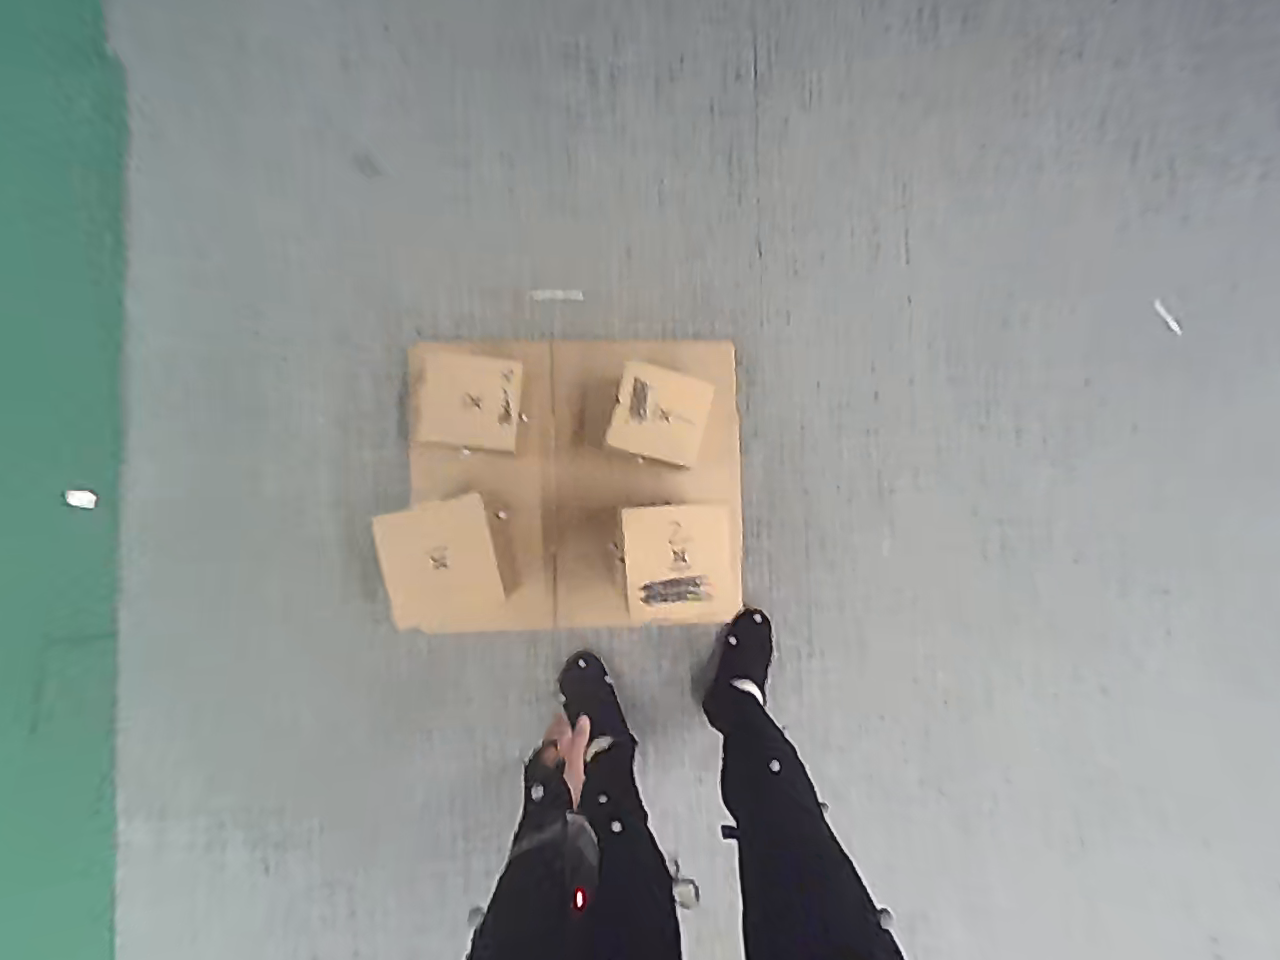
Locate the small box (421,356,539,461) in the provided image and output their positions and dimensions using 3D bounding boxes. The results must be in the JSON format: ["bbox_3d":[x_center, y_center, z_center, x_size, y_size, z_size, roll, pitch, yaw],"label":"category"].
[{"bbox_3d":[-0.303,-0.131,1.054,0.179,0.176,0.168,6,87,-3],"label":"small box"}]

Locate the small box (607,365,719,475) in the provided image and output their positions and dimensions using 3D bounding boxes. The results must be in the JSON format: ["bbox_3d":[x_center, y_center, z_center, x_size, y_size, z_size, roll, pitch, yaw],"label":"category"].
[{"bbox_3d":[0.037,-0.109,1.075,0.179,0.176,0.168,15,86,-5],"label":"small box"}]

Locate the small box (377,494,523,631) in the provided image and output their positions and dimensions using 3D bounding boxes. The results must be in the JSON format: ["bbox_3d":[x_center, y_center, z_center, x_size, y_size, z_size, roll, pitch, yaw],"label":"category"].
[{"bbox_3d":[-0.297,0.126,0.879,0.168,0.176,0.179,-13,89,-4],"label":"small box"}]

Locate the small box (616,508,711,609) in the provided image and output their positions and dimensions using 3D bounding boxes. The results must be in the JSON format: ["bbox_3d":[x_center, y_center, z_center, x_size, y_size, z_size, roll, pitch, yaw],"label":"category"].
[{"bbox_3d":[0.040,0.148,1.066,0.168,0.176,0.179,3,87,-5],"label":"small box"}]
